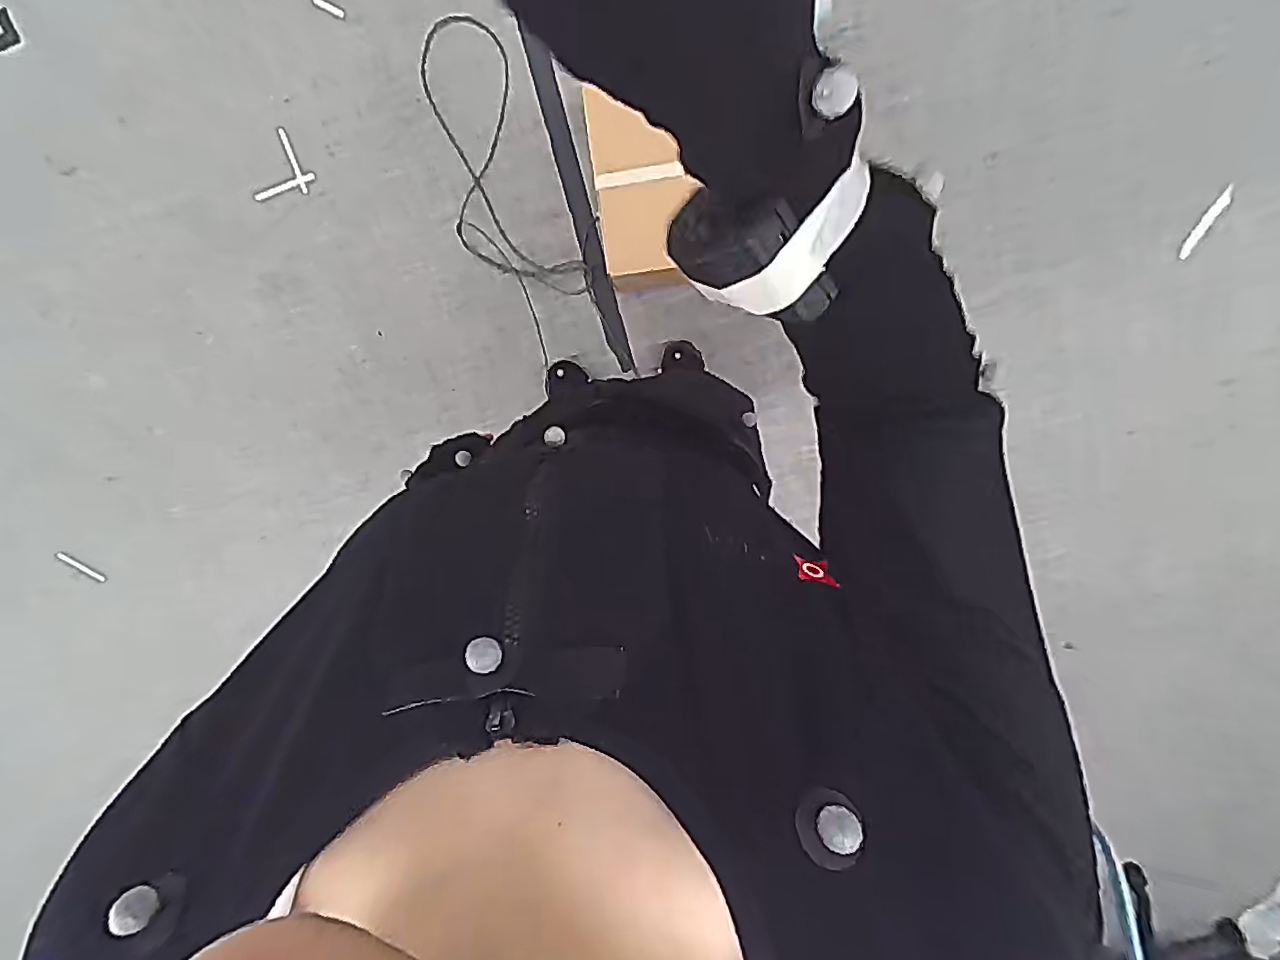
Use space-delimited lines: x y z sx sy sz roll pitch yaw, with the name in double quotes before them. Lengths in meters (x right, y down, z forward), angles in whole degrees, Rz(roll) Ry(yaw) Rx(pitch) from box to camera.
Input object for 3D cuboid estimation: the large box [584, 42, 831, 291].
"large box" 0.125 -0.584 1.082 0.408 0.320 0.320 -7 104 3
